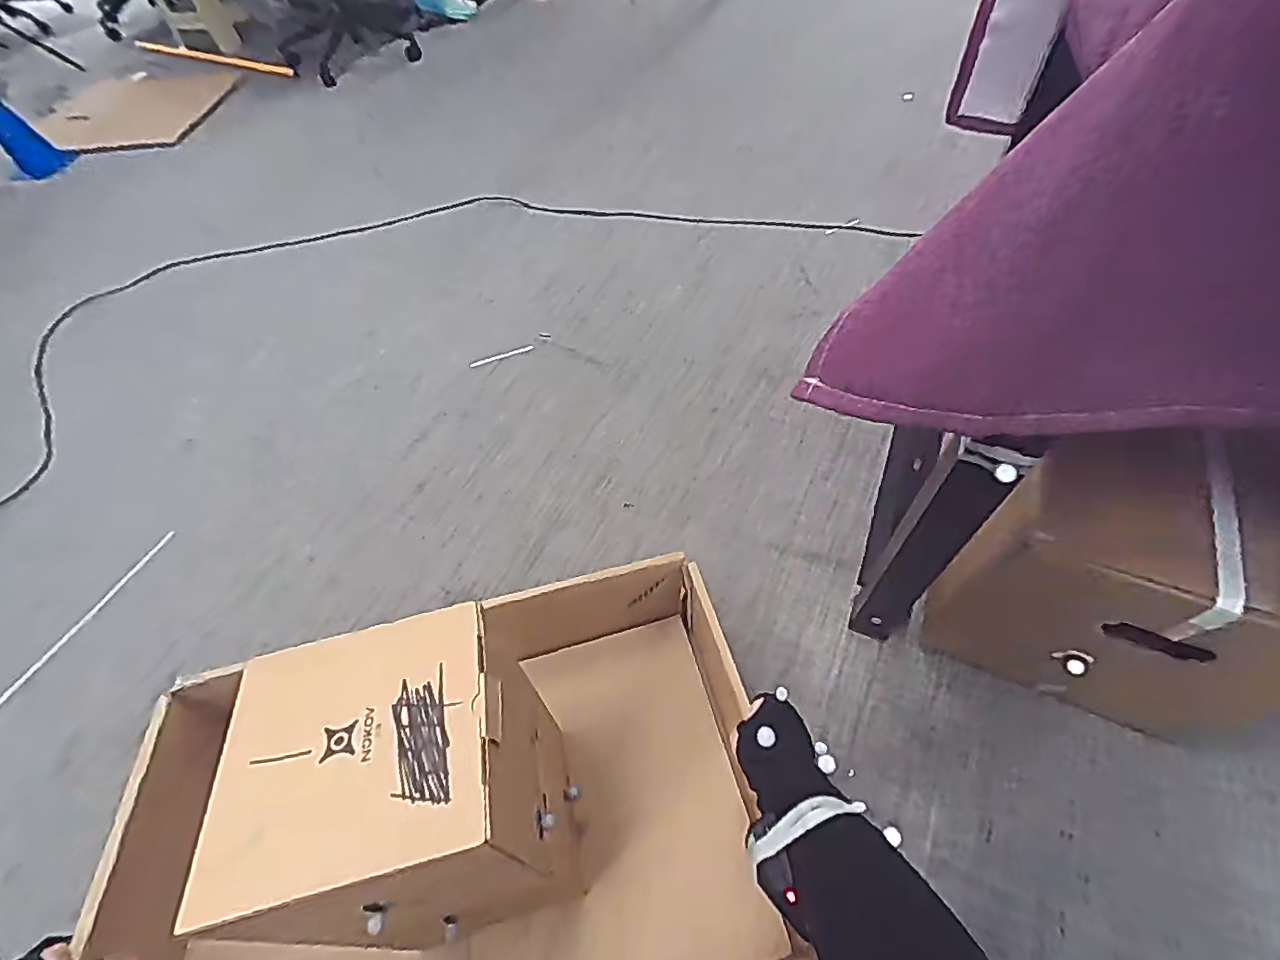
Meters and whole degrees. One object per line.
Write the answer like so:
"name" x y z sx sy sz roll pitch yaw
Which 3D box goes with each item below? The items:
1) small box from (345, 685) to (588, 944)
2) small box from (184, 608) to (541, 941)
"small box" -0.163 0.337 0.542 0.179 0.176 0.168 -15 49 -6
"small box" -0.180 0.228 0.419 0.179 0.176 0.168 -14 48 -4
